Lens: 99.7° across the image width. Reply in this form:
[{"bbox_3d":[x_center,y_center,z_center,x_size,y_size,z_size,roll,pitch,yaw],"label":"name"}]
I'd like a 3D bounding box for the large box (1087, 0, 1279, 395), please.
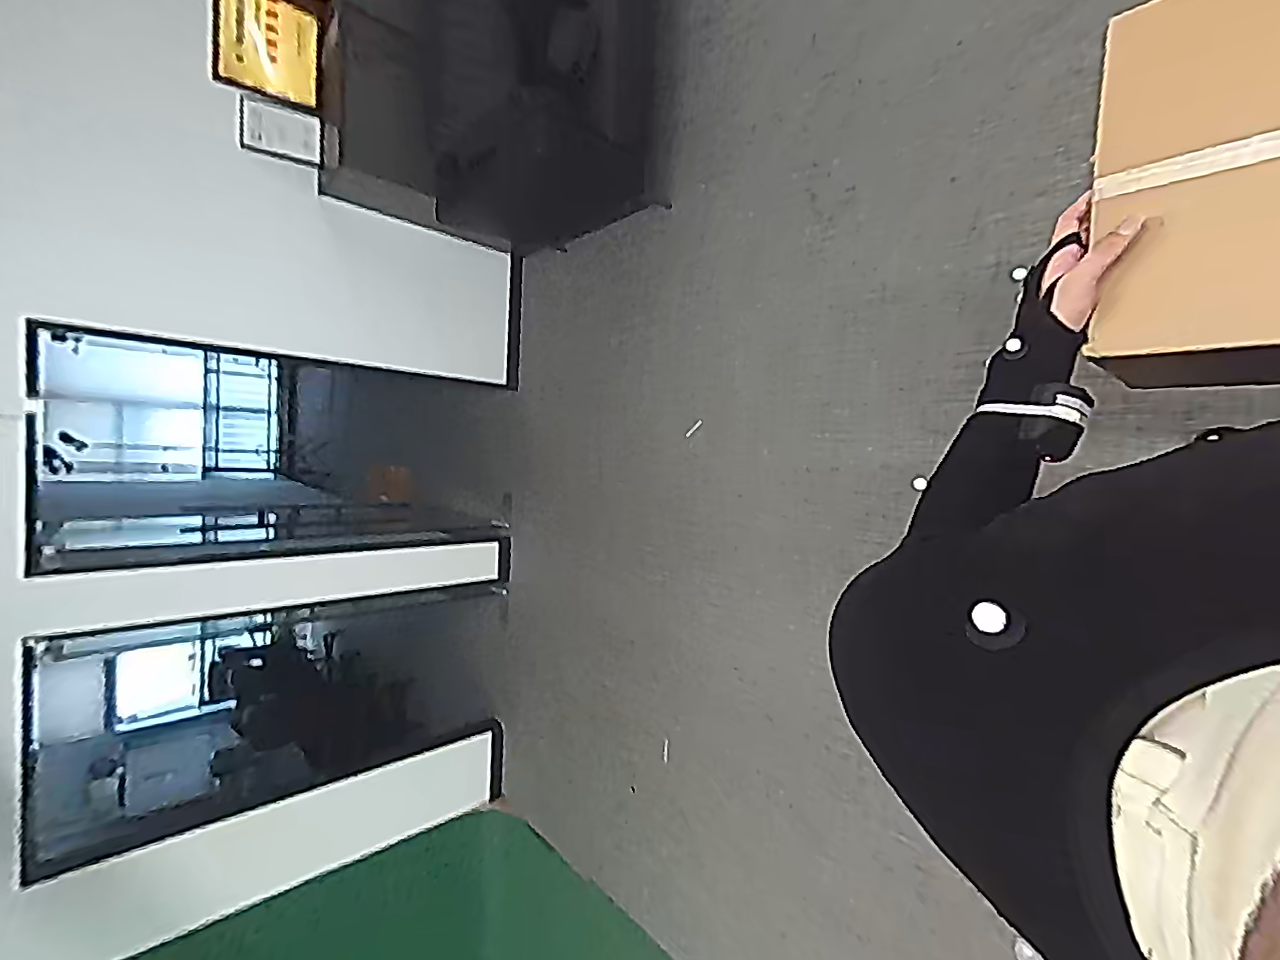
[{"bbox_3d":[0.680,-0.258,0.478,0.408,0.320,0.320,6,94,47],"label":"large box"}]
